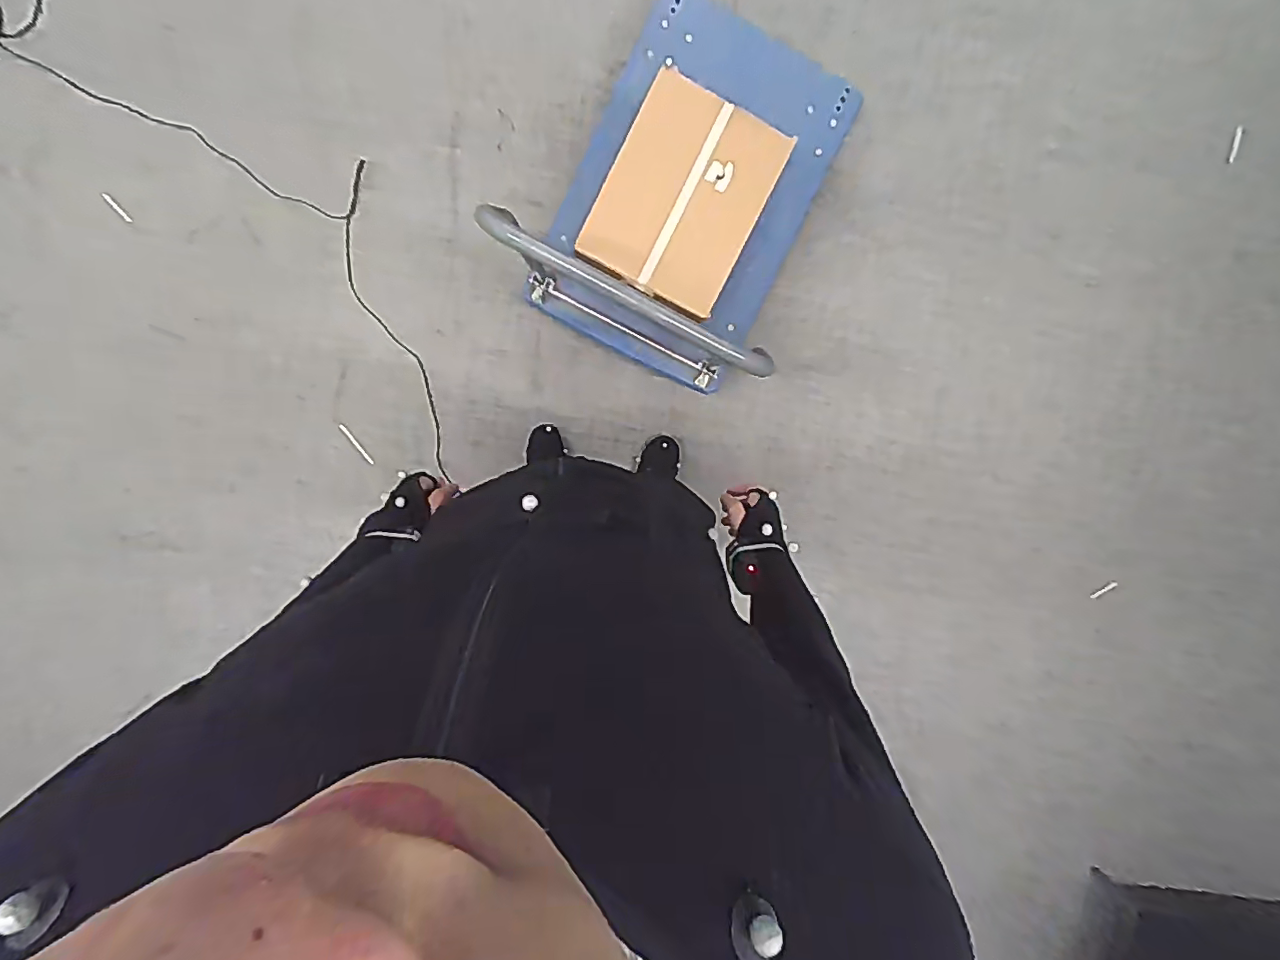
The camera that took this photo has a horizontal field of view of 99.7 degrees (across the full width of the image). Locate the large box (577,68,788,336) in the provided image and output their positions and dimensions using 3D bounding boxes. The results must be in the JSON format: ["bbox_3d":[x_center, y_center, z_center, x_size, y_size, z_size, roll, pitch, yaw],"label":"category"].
[{"bbox_3d":[0.080,-0.607,1.267,0.320,0.320,0.408,27,93,-6],"label":"large box"}]
